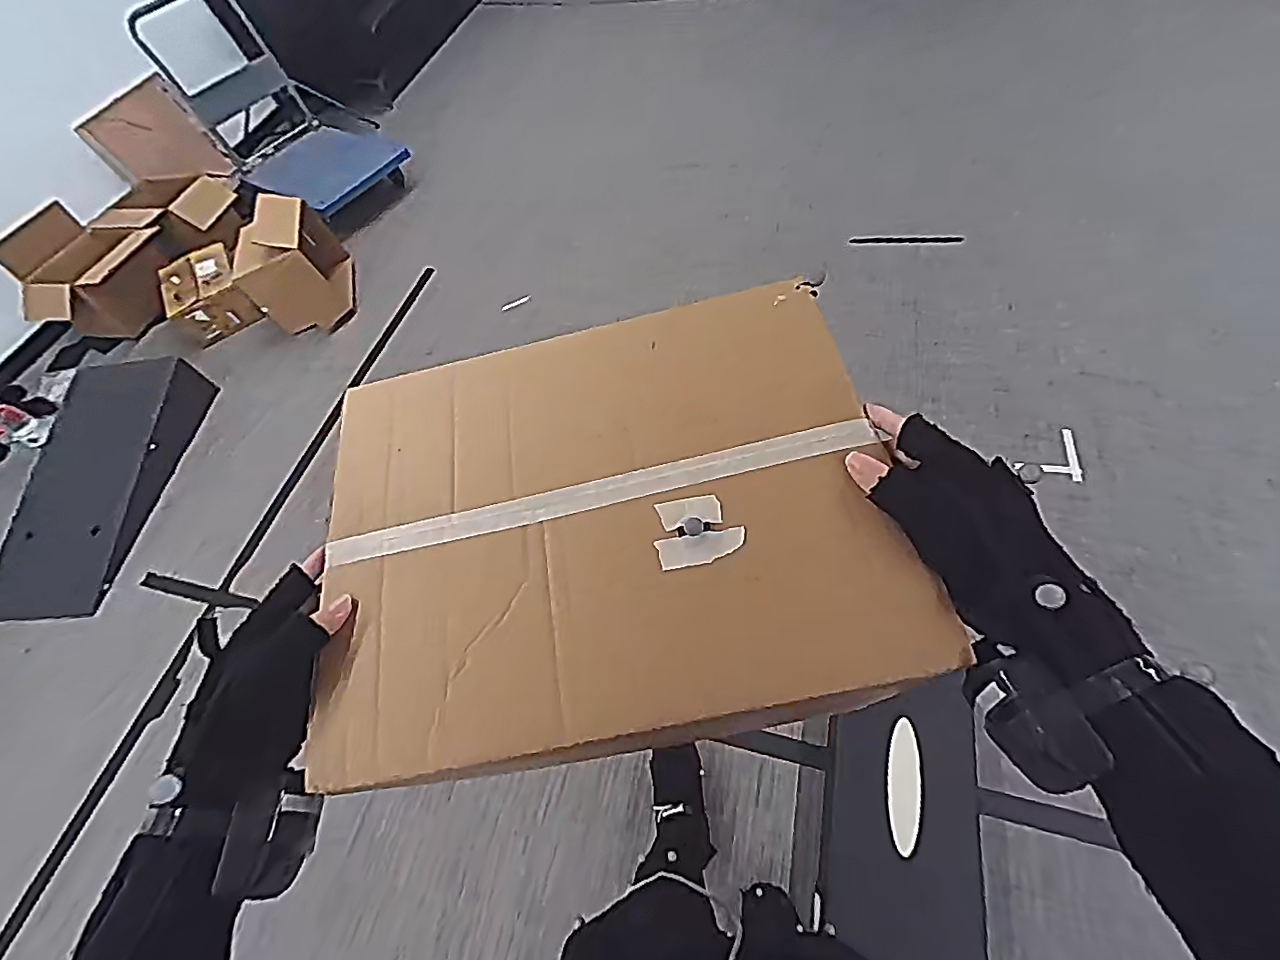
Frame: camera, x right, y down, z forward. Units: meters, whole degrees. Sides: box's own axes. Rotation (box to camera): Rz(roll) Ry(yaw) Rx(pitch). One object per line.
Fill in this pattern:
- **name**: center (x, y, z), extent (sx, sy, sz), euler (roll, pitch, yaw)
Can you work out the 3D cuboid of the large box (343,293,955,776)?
- **large box**: center (-0.004, 0.081, 0.537), extent (0.408, 0.320, 0.320), euler (-13, 63, 3)
